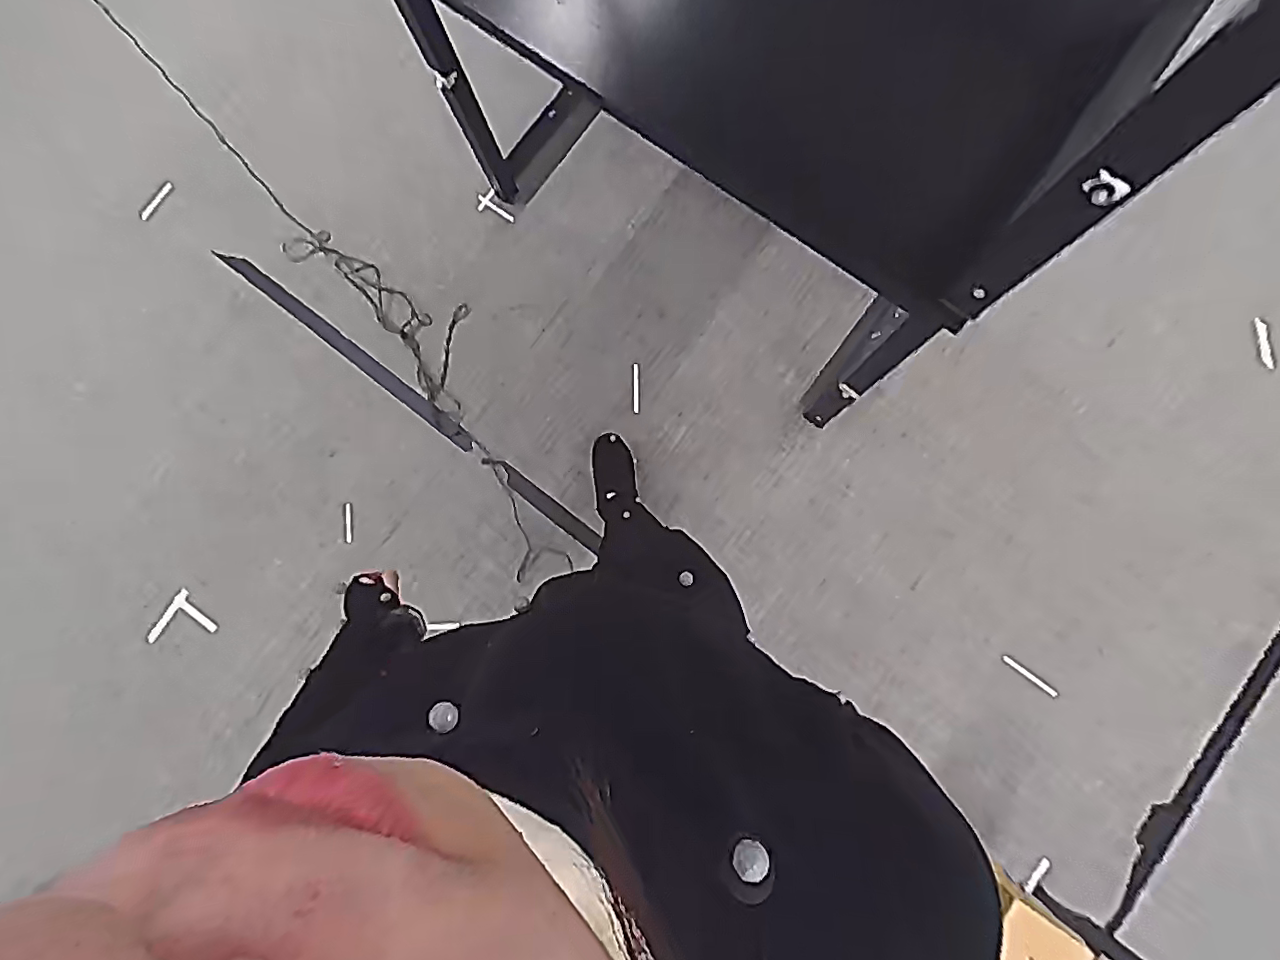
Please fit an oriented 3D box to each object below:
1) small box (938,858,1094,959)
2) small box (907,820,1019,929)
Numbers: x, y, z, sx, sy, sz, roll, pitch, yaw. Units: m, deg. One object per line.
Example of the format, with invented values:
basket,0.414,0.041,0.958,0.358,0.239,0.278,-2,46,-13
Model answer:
small box,0.741,0.928,1.091,0.168,0.176,0.179,35,86,6
small box,0.754,0.949,1.253,0.168,0.176,0.179,36,88,7
